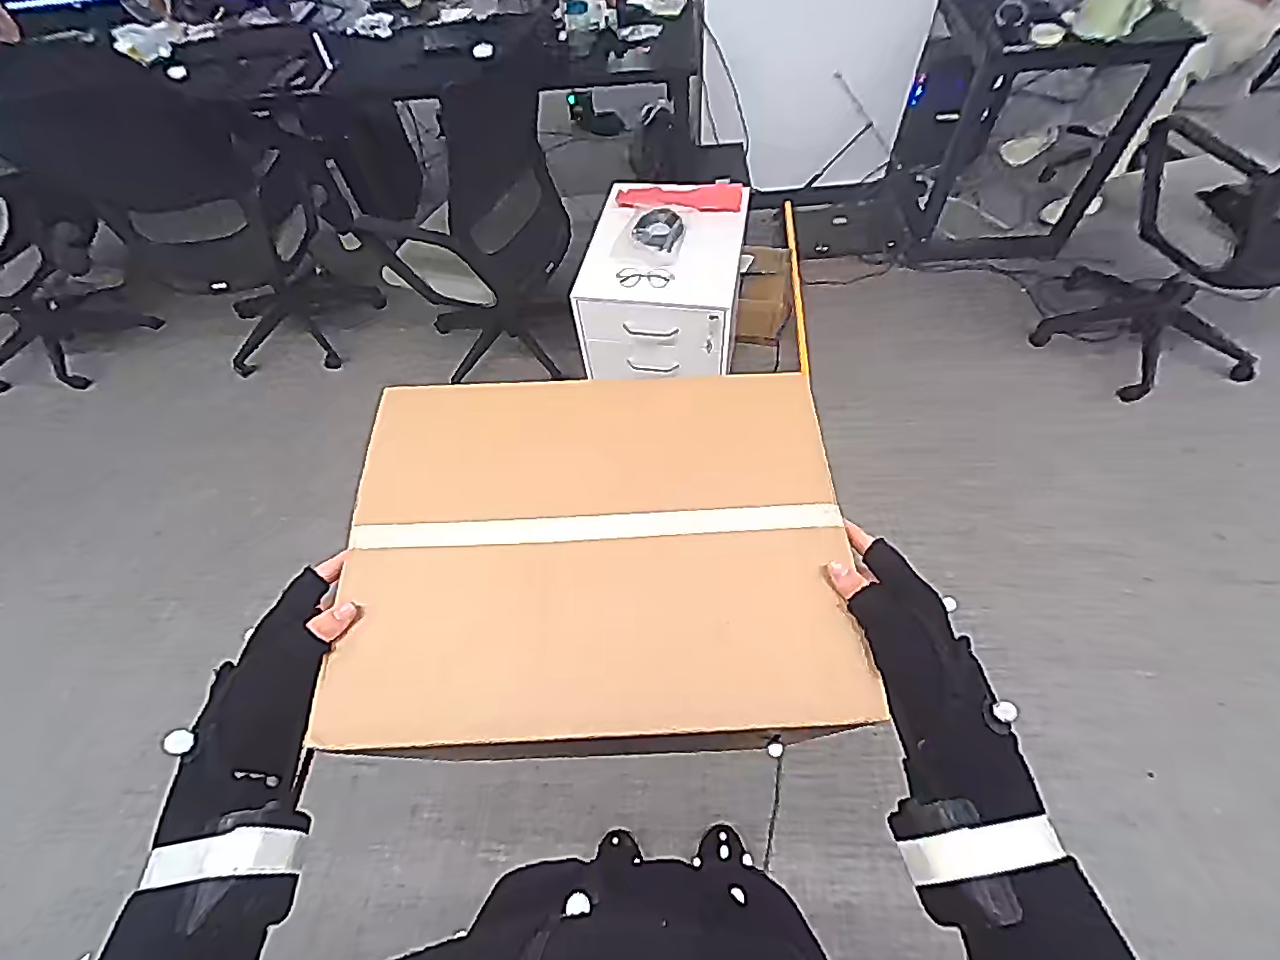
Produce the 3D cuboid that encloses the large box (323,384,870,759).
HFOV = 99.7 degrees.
[{"bbox_3d":[-0.036,0.119,0.588,0.408,0.320,0.320,-2,61,-2],"label":"large box"}]
